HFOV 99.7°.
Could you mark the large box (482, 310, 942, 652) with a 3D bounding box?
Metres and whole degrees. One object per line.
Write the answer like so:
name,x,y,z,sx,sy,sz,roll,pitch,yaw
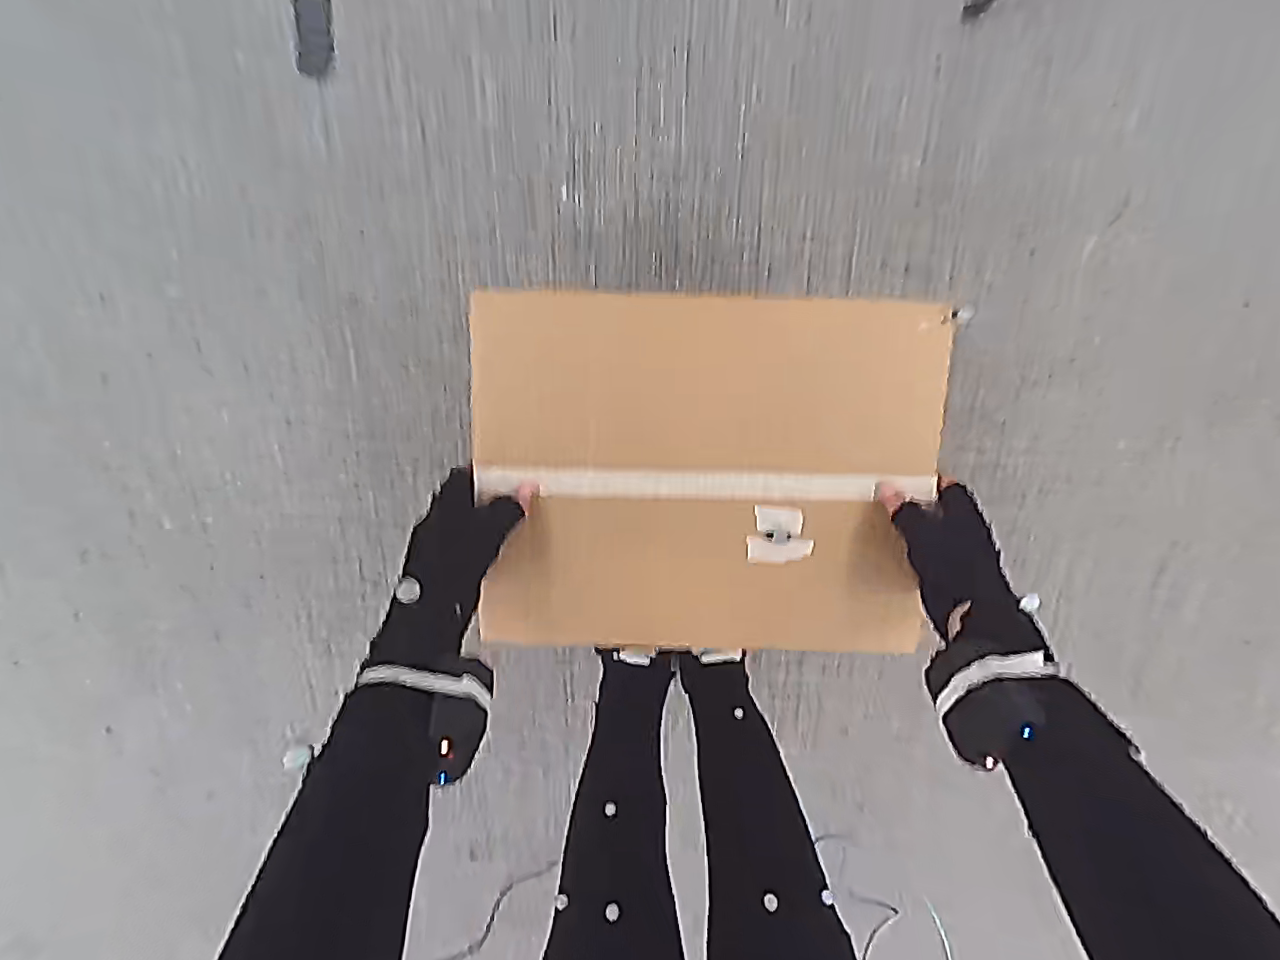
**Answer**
large box,0.061,-0.012,0.632,0.408,0.320,0.320,1,99,0
